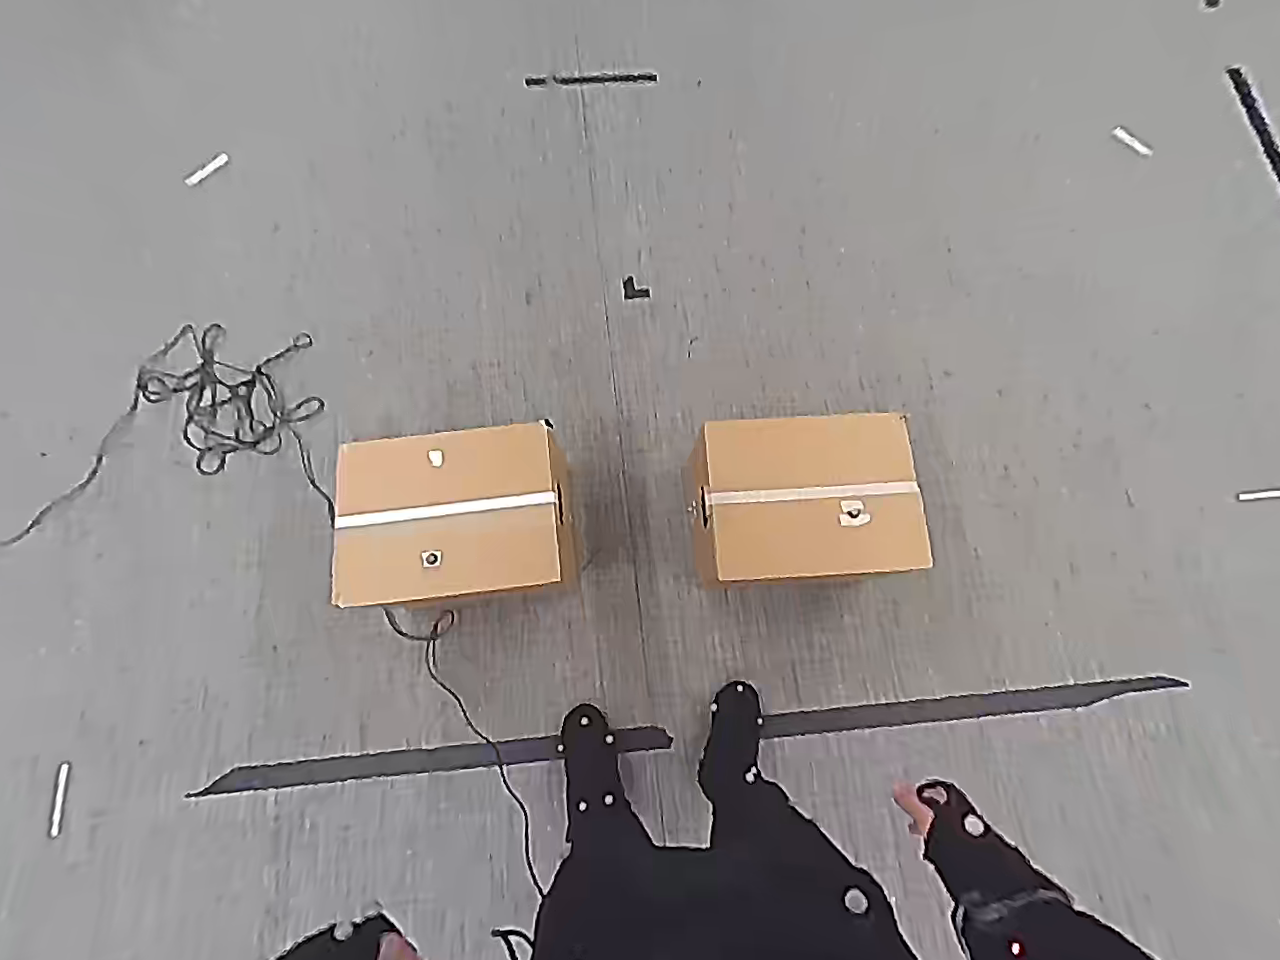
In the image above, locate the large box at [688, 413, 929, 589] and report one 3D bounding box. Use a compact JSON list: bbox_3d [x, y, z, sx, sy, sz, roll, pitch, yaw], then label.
[{"bbox_3d":[0.332,0.062,1.187,0.408,0.320,0.320,-3,76,-2],"label":"large box"}]
